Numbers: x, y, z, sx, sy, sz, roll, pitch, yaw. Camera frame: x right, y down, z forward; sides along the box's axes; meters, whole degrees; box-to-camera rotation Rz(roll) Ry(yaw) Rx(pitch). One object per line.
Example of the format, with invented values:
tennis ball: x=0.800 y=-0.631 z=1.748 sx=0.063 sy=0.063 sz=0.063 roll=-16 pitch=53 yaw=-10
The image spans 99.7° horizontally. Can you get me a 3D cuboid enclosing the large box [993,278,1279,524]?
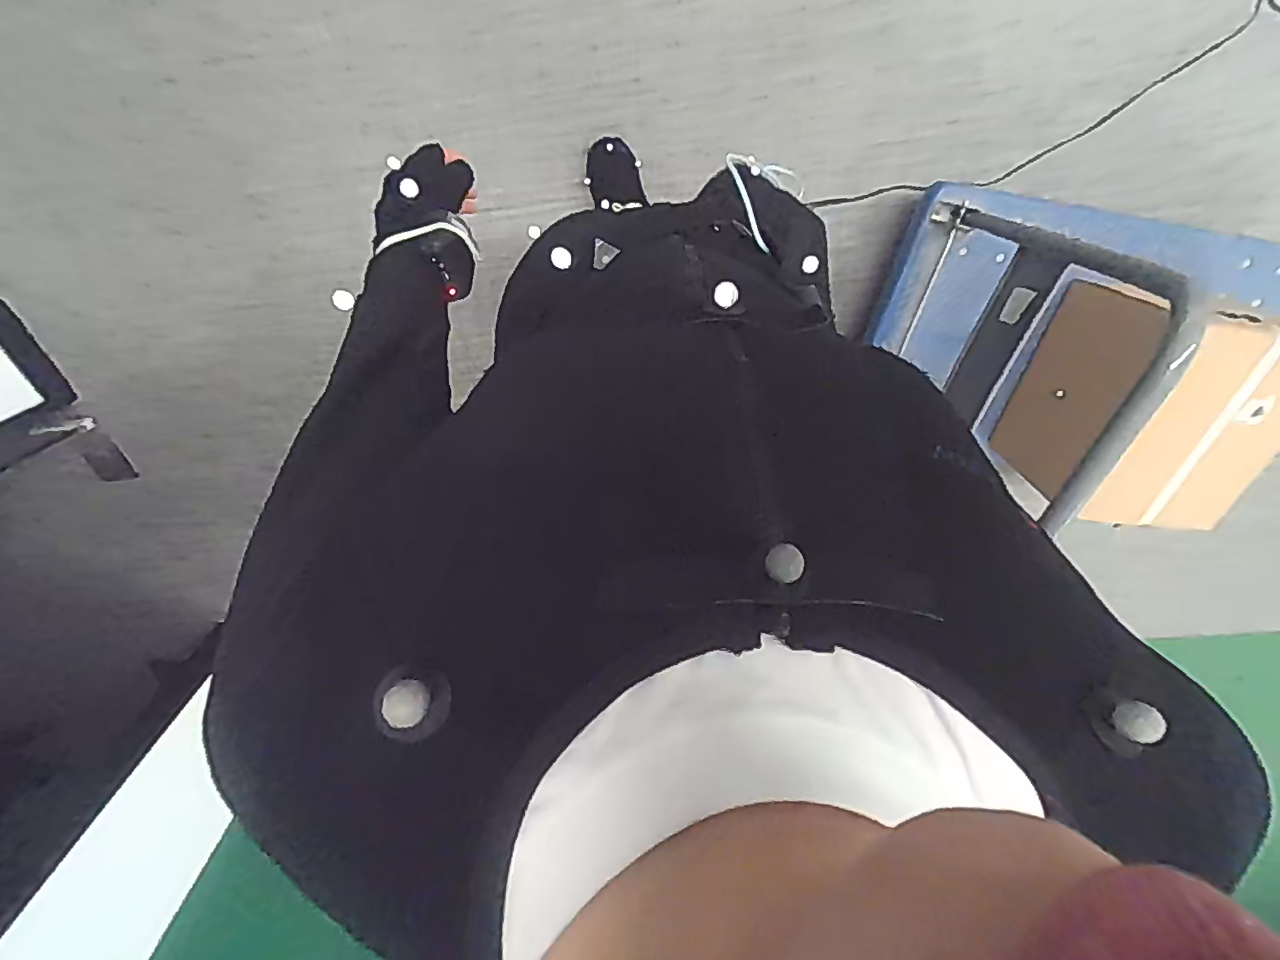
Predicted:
large box: x=1.031 y=-0.167 z=1.119 sx=0.320 sy=0.320 sz=0.408 roll=5 pitch=122 yaw=-2
